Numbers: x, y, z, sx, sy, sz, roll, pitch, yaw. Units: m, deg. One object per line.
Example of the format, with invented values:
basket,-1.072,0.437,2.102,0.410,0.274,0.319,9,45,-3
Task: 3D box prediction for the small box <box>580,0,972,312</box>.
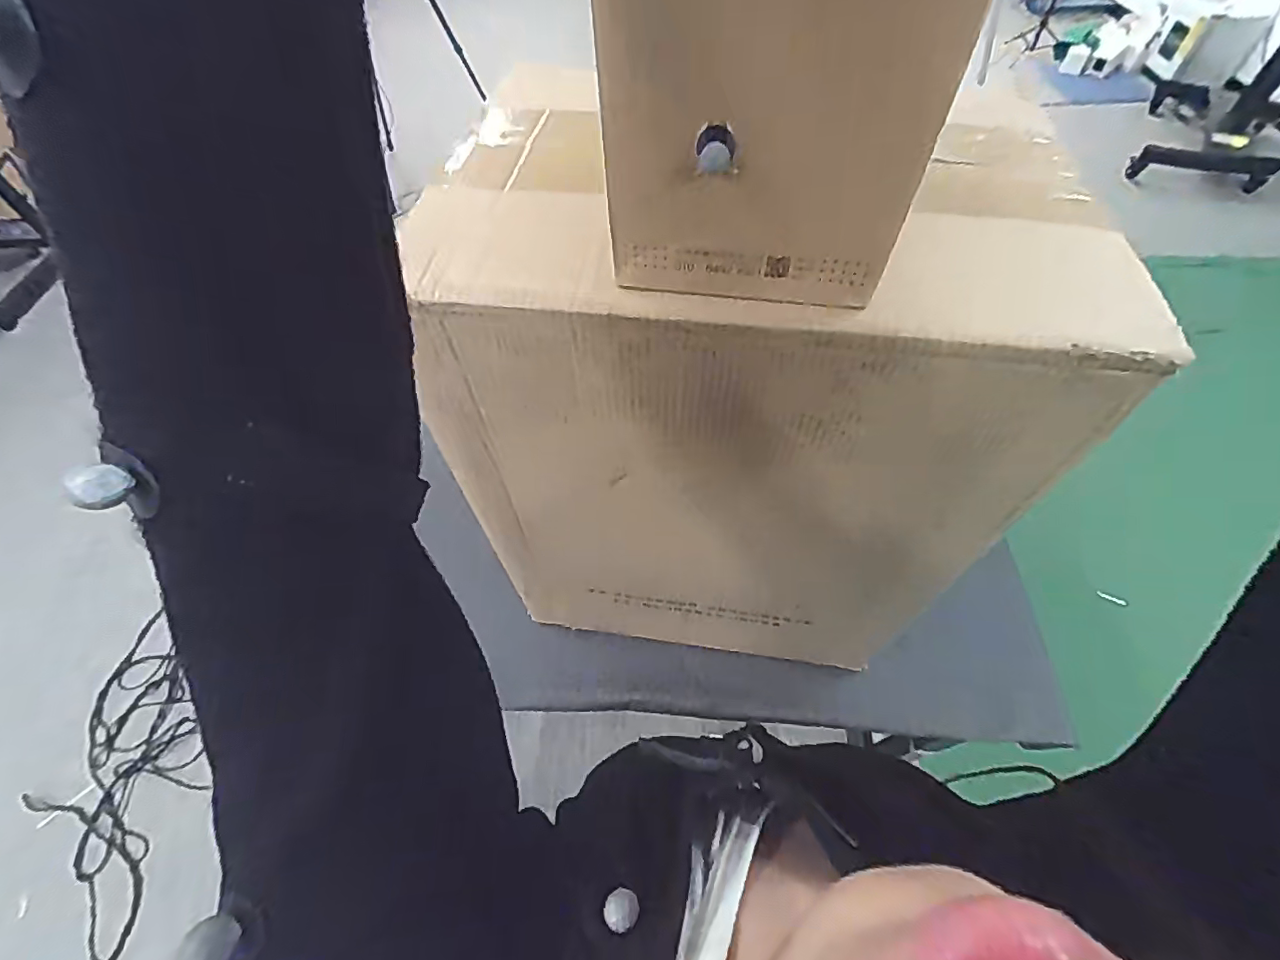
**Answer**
small box,0.072,-0.226,0.331,0.168,0.176,0.179,7,57,7
